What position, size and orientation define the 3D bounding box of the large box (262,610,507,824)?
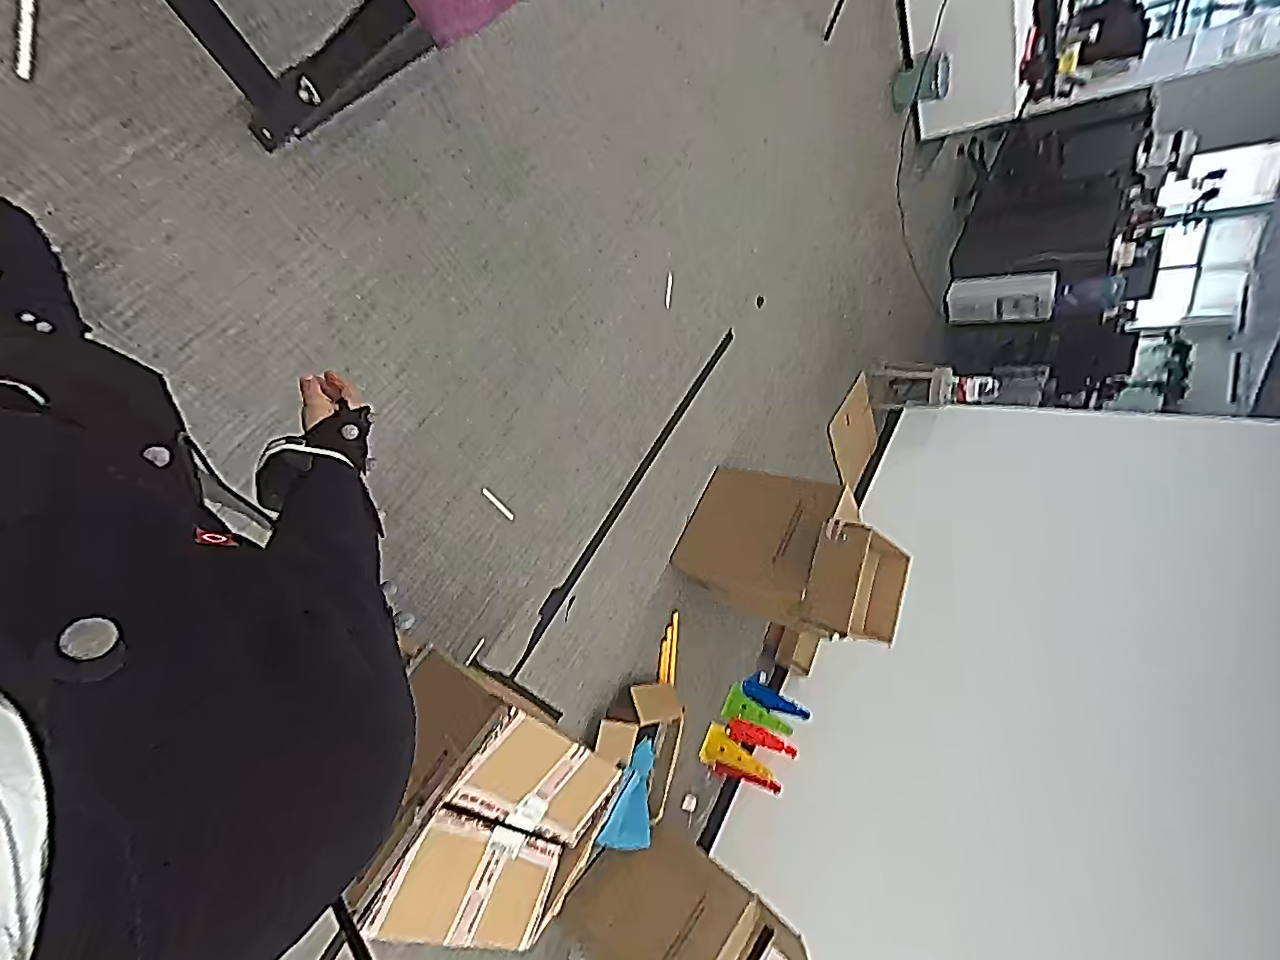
[{"bbox_3d":[-0.628,0.590,1.362,0.320,0.320,0.408,-57,134,-23],"label":"large box"}]
